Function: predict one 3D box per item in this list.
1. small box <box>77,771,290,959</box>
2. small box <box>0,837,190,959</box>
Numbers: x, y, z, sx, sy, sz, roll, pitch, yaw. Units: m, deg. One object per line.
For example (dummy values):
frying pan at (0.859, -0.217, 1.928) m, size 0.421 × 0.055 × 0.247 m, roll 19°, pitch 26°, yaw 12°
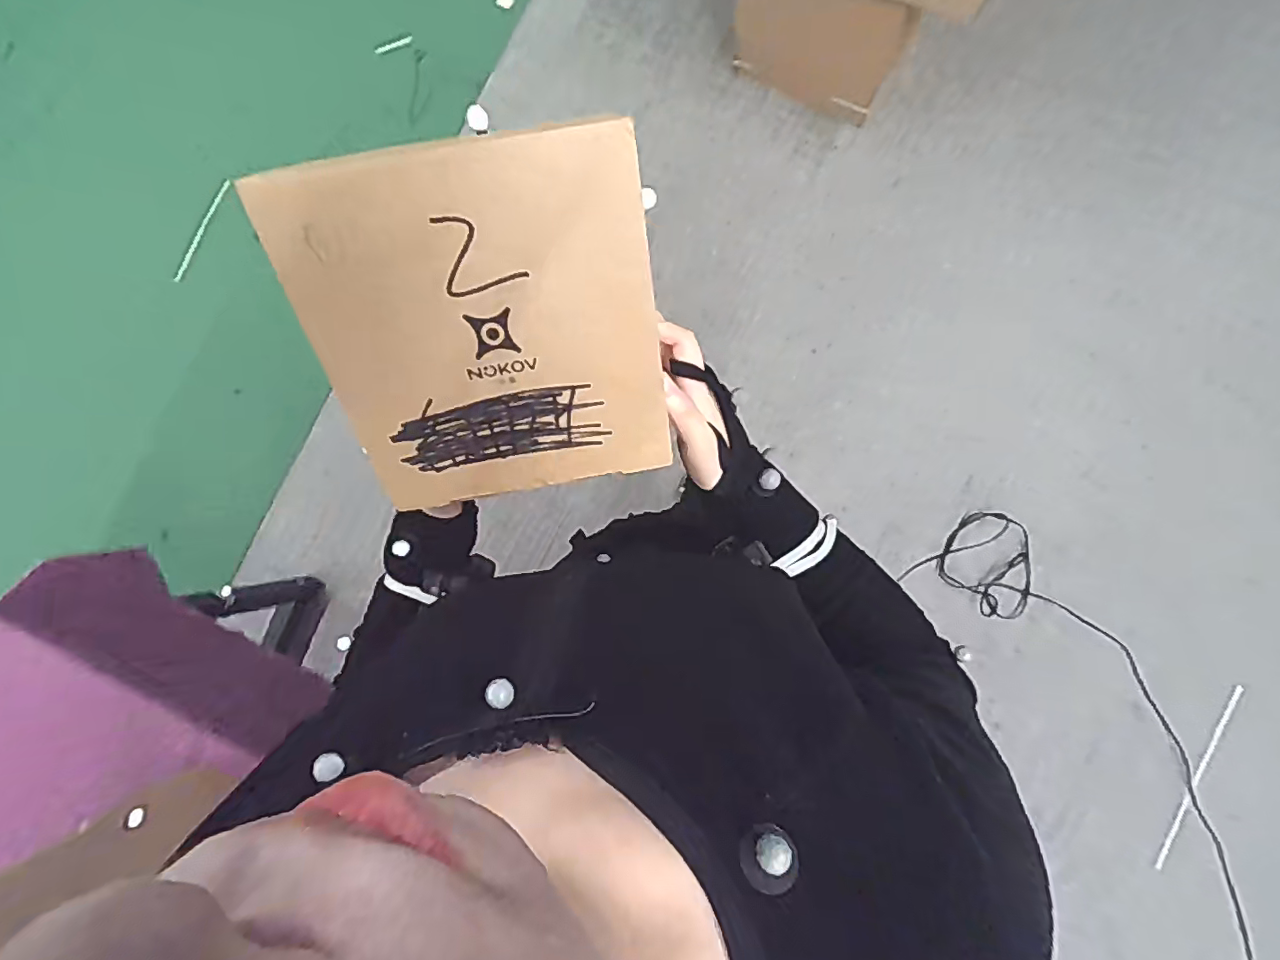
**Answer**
small box at (-0.632, 0.538, 0.737) m, size 0.179 × 0.176 × 0.168 m, roll 25°, pitch 90°, yaw 8°
small box at (-0.645, 0.532, 0.574) m, size 0.179 × 0.176 × 0.168 m, roll 29°, pitch 90°, yaw 7°
